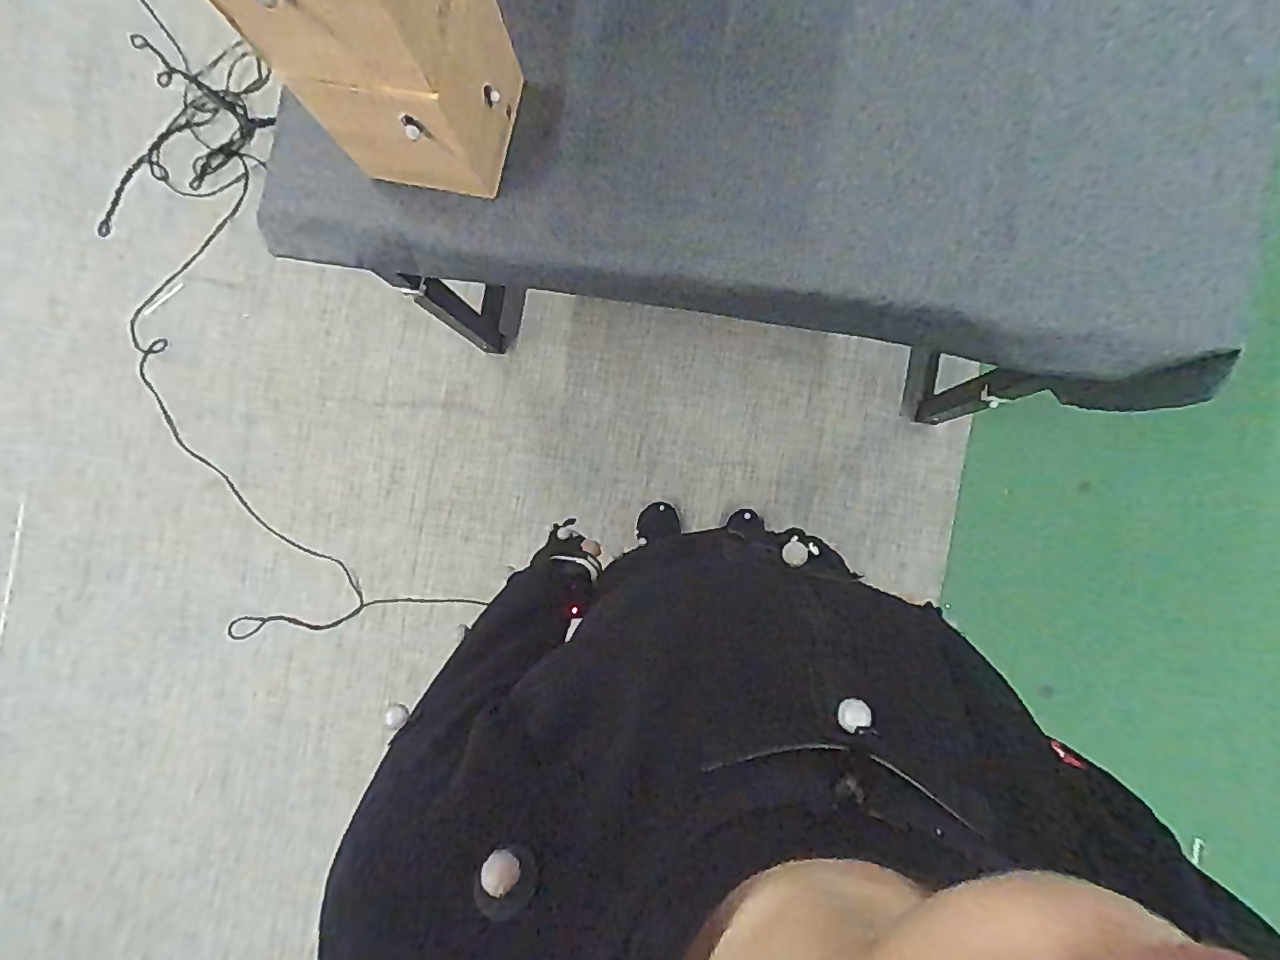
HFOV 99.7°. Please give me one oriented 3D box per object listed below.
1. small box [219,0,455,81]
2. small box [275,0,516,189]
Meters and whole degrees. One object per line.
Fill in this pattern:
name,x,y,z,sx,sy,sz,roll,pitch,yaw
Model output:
small box,-0.272,-0.476,0.451,0.179,0.176,0.168,8,88,5
small box,-0.257,-0.463,0.613,0.179,0.176,0.168,12,87,5
